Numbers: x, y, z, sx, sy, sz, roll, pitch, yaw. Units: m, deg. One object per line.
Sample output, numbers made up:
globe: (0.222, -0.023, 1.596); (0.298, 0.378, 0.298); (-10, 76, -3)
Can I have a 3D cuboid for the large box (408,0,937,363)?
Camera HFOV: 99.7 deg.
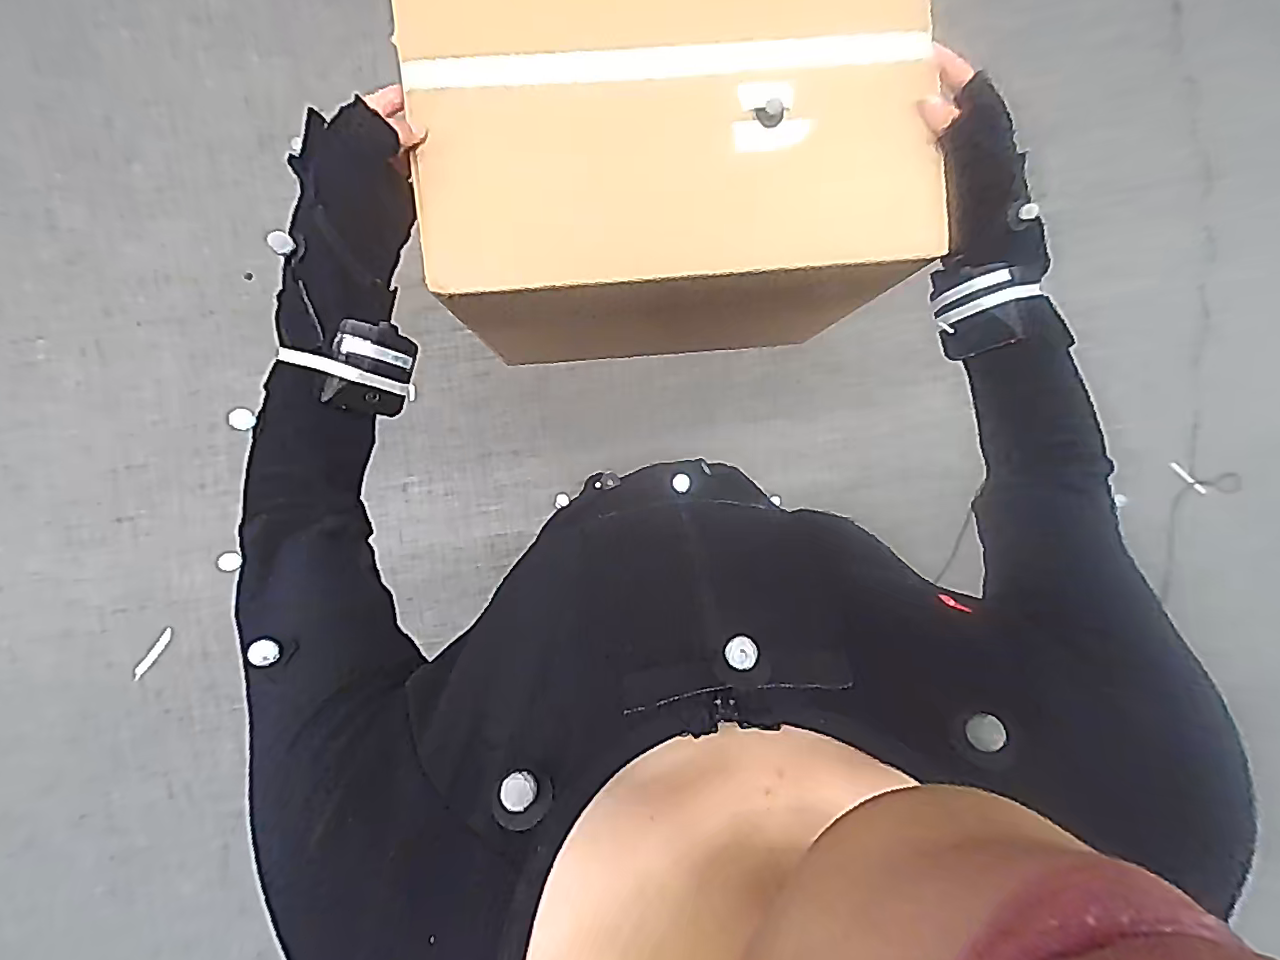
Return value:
large box: (0.018, -0.323, 0.570); (0.408, 0.320, 0.320); (-6, 93, -4)
